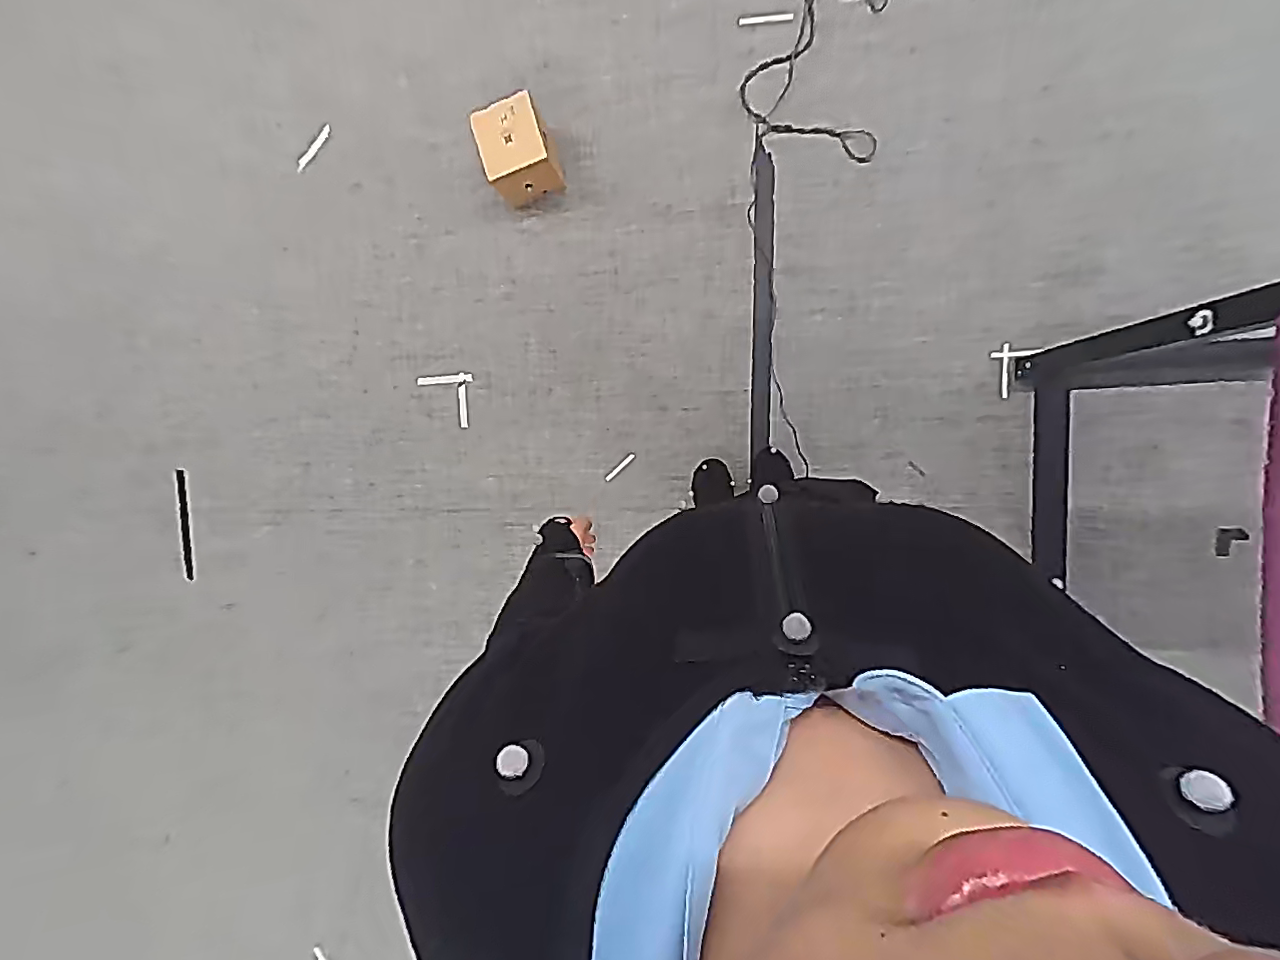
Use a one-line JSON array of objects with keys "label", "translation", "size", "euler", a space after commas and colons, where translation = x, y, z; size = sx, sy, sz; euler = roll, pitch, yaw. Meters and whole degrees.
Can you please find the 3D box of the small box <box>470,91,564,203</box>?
[{"label": "small box", "translation": [-0.316, -0.862, 1.424], "size": [0.168, 0.176, 0.179], "euler": [-16, 91, 10]}]
